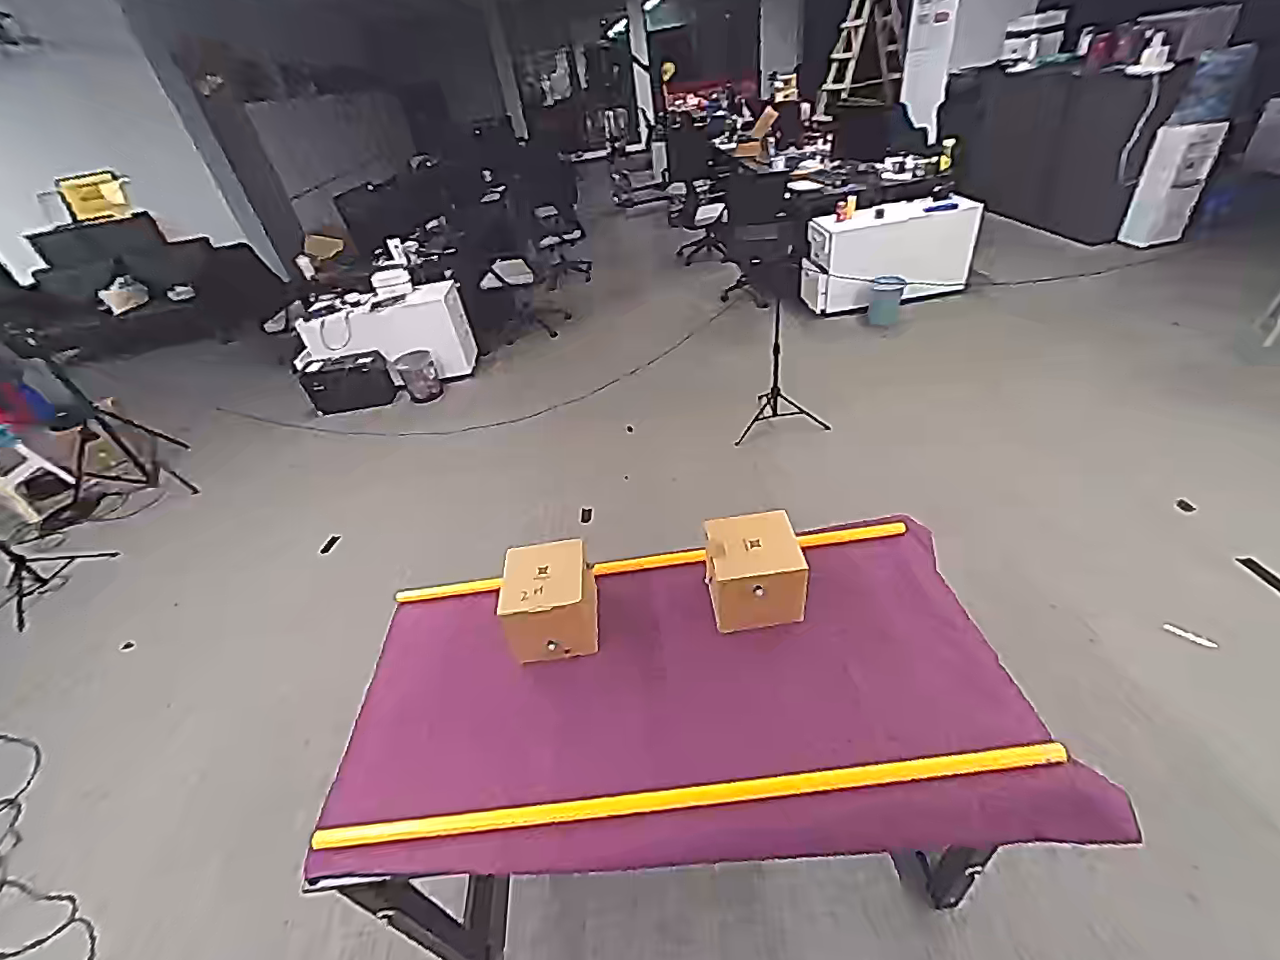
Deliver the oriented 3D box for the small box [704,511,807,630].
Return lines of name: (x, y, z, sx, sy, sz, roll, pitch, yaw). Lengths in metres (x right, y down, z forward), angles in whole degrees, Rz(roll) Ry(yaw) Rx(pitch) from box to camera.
small box: (0.234, 0.190, 1.124, 0.179, 0.176, 0.168, -9, 39, 3)

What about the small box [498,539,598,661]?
small box: (-0.184, 0.252, 1.138, 0.168, 0.176, 0.179, -9, 39, 2)
